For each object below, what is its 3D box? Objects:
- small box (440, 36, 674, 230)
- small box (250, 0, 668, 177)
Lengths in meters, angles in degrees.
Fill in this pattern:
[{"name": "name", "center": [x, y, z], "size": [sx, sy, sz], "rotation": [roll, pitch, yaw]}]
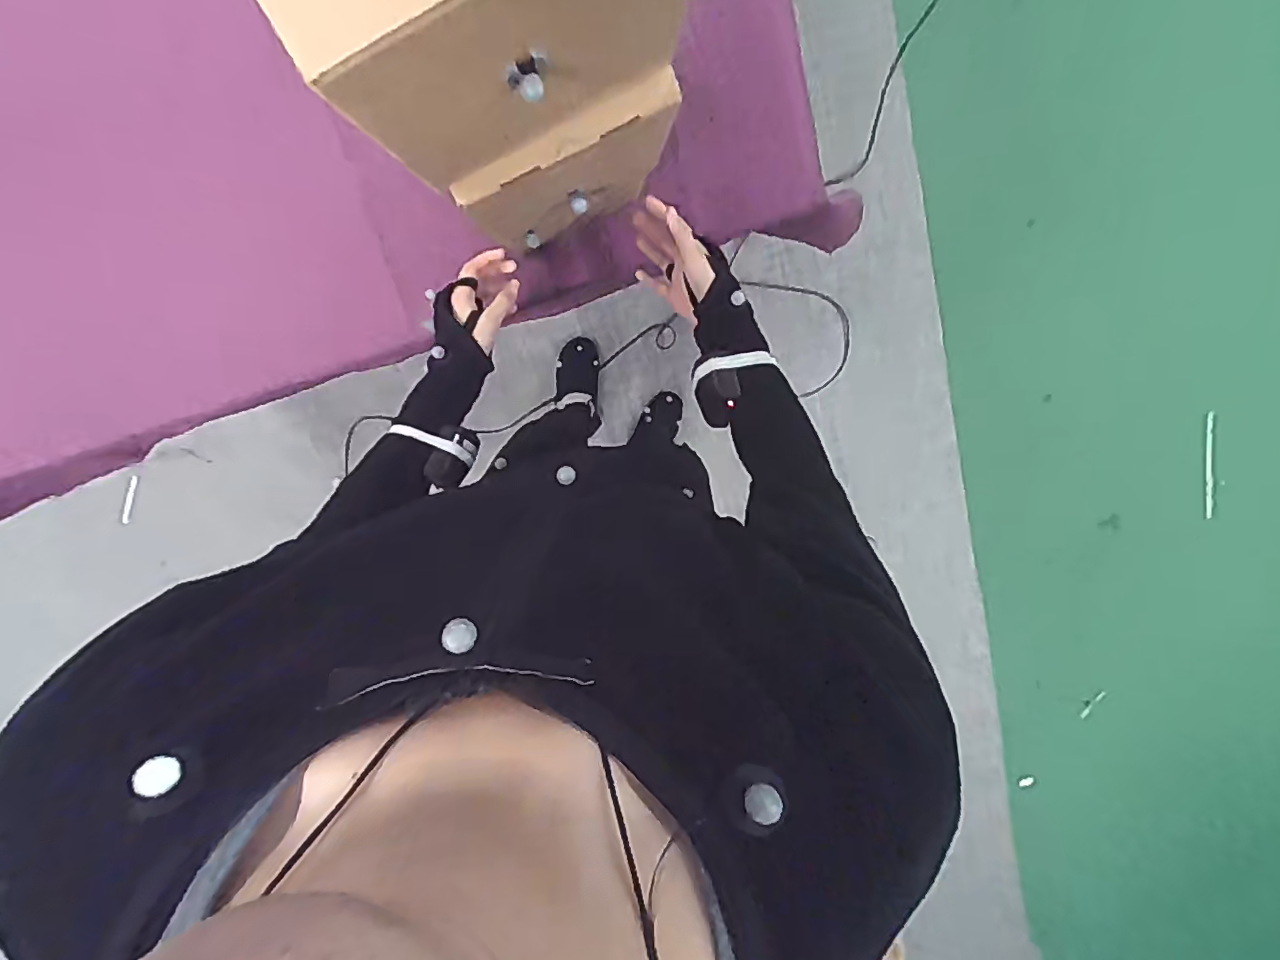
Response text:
[{"name": "small box", "center": [-0.091, -0.315, 0.405], "size": [0.168, 0.176, 0.179], "rotation": [-24, 108, 3]}, {"name": "small box", "center": [-0.089, -0.274, 0.245], "size": [0.179, 0.176, 0.168], "rotation": [-27, 106, 4]}]
